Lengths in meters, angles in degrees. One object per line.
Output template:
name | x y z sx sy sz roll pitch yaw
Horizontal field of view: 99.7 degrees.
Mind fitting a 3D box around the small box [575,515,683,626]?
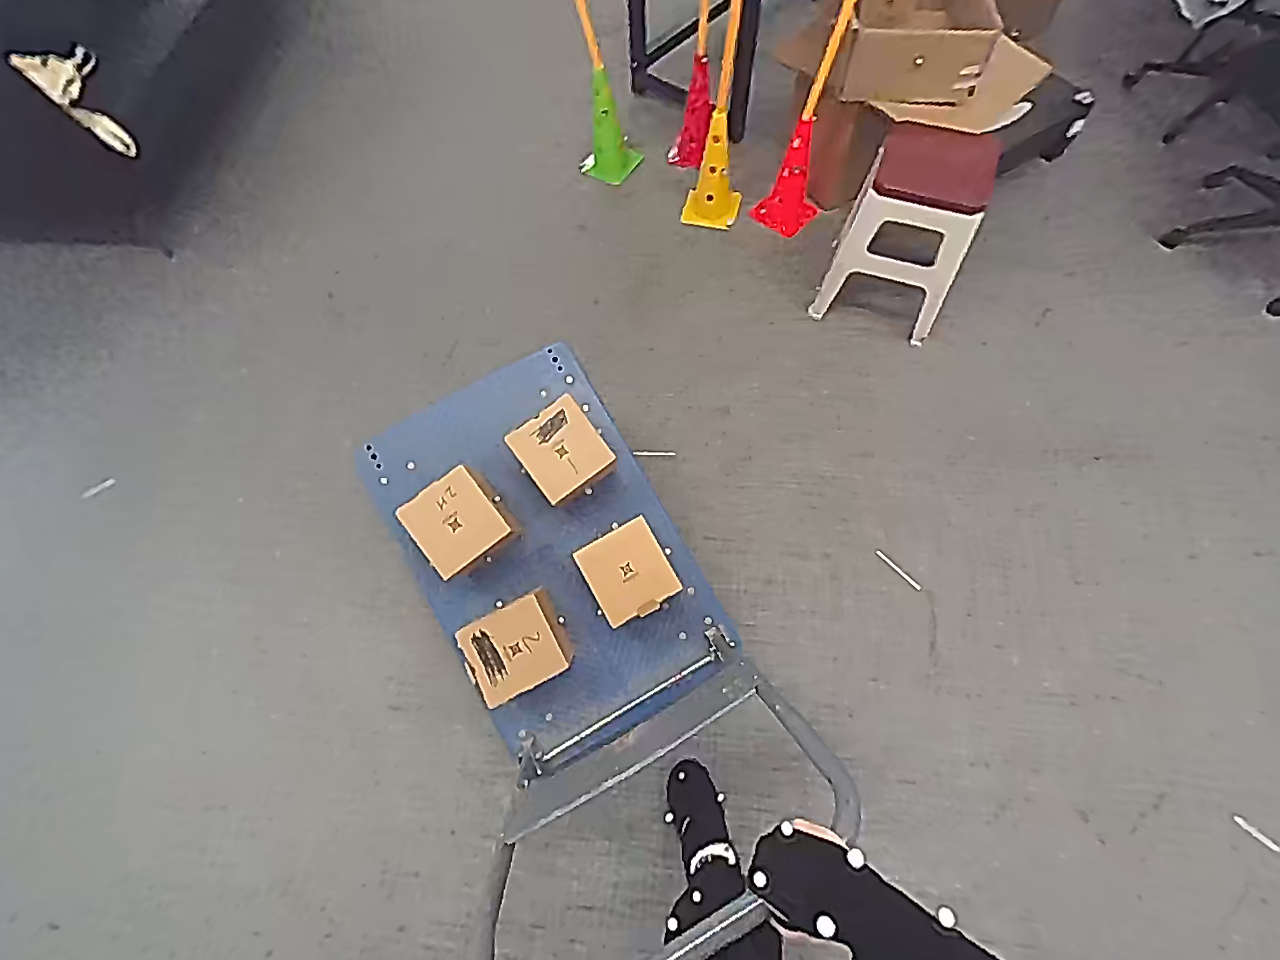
small box | -0.028 0.192 1.177 0.168 0.176 0.179 -29 87 -5

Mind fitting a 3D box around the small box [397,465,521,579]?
small box | -0.379 0.090 1.167 0.168 0.176 0.179 -37 87 -7

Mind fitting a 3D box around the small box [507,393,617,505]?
small box | -0.167 -0.059 1.194 0.168 0.176 0.179 -36 88 -5
